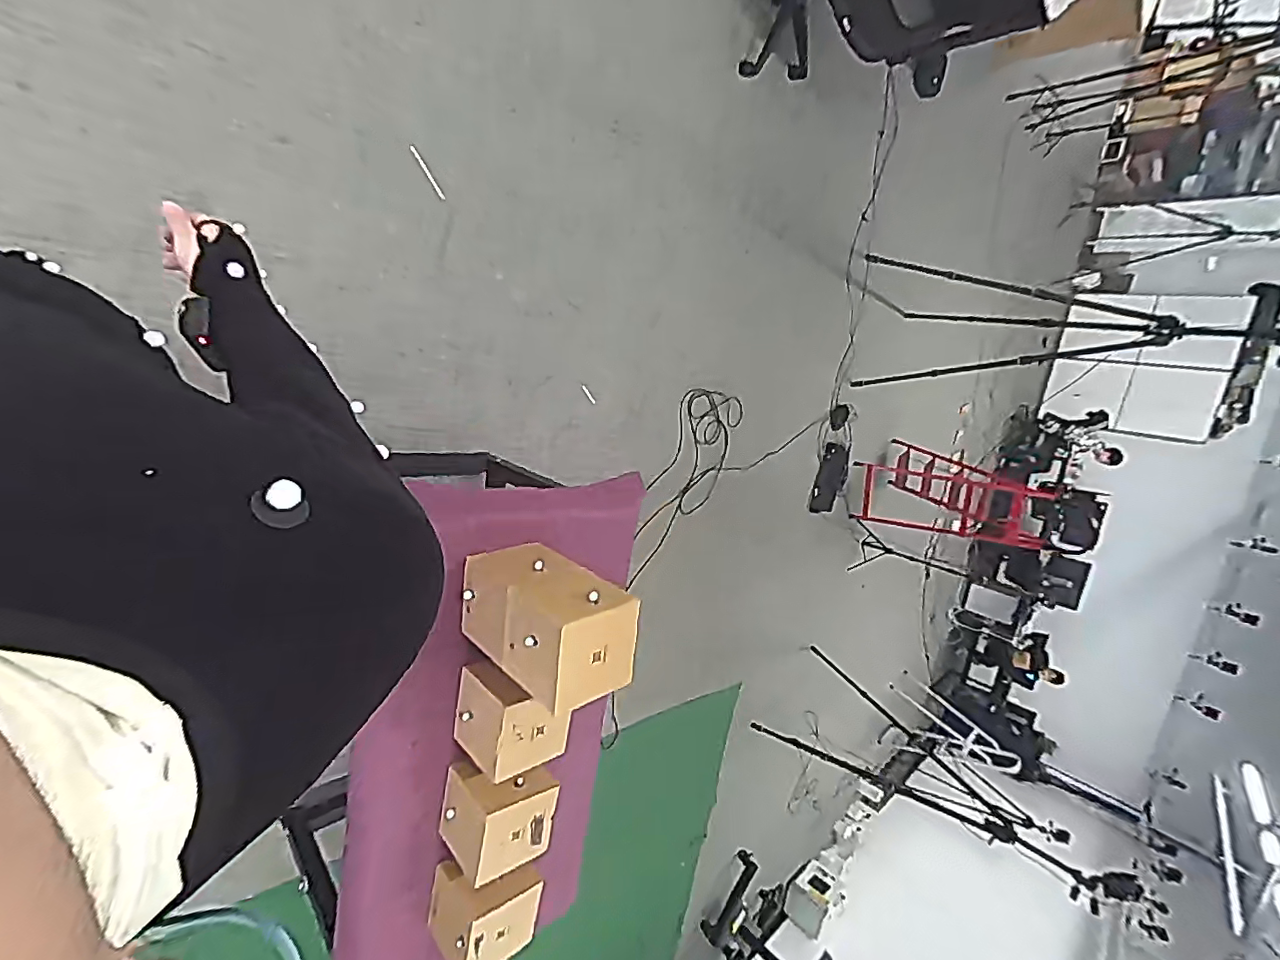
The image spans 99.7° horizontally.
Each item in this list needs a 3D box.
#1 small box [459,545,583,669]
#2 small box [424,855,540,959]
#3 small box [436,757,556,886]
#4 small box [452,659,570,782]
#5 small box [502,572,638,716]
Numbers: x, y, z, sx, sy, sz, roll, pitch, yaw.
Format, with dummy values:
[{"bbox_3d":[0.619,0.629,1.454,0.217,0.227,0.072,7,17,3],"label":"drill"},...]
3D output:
[{"bbox_3d":[-0.239,0.240,1.079,0.179,0.176,0.168,-6,108,-44],"label":"small box"},{"bbox_3d":[-0.356,0.948,1.214,0.179,0.176,0.168,2,102,-46],"label":"small box"},{"bbox_3d":[-0.313,0.710,1.172,0.179,0.176,0.168,4,101,-45],"label":"small box"},{"bbox_3d":[-0.267,0.482,1.136,0.179,0.176,0.168,1,103,-46],"label":"small box"},{"bbox_3d":[-0.130,0.279,0.966,0.179,0.176,0.168,-6,108,-45],"label":"small box"}]
